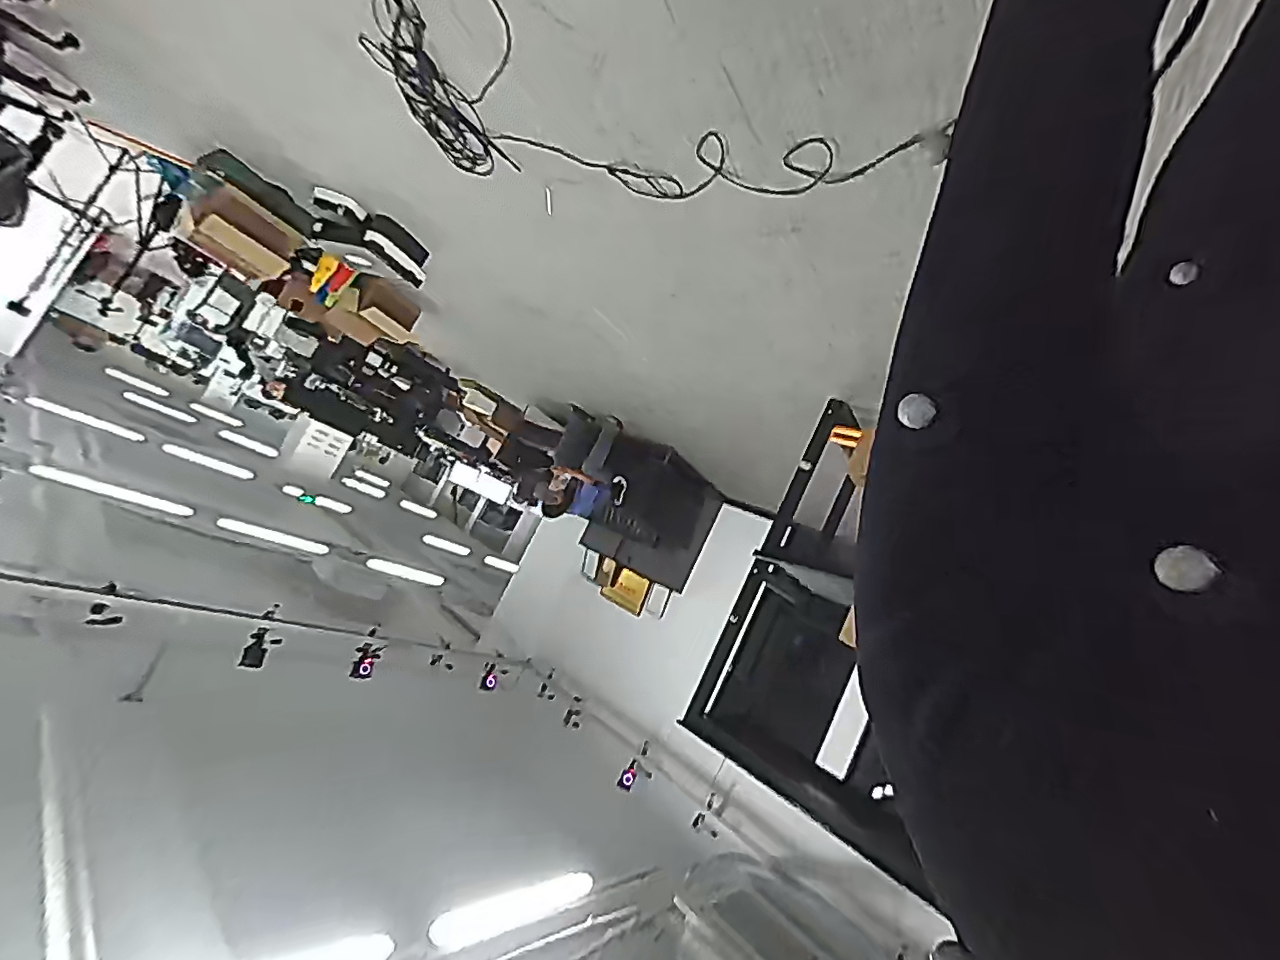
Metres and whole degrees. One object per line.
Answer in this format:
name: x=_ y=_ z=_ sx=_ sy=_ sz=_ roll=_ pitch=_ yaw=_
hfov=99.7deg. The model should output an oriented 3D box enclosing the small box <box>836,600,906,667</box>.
small box: x=0.849 y=0.557 z=1.973 sx=0.168 sy=0.176 sz=0.179 roll=19 pitch=170 yaw=41
